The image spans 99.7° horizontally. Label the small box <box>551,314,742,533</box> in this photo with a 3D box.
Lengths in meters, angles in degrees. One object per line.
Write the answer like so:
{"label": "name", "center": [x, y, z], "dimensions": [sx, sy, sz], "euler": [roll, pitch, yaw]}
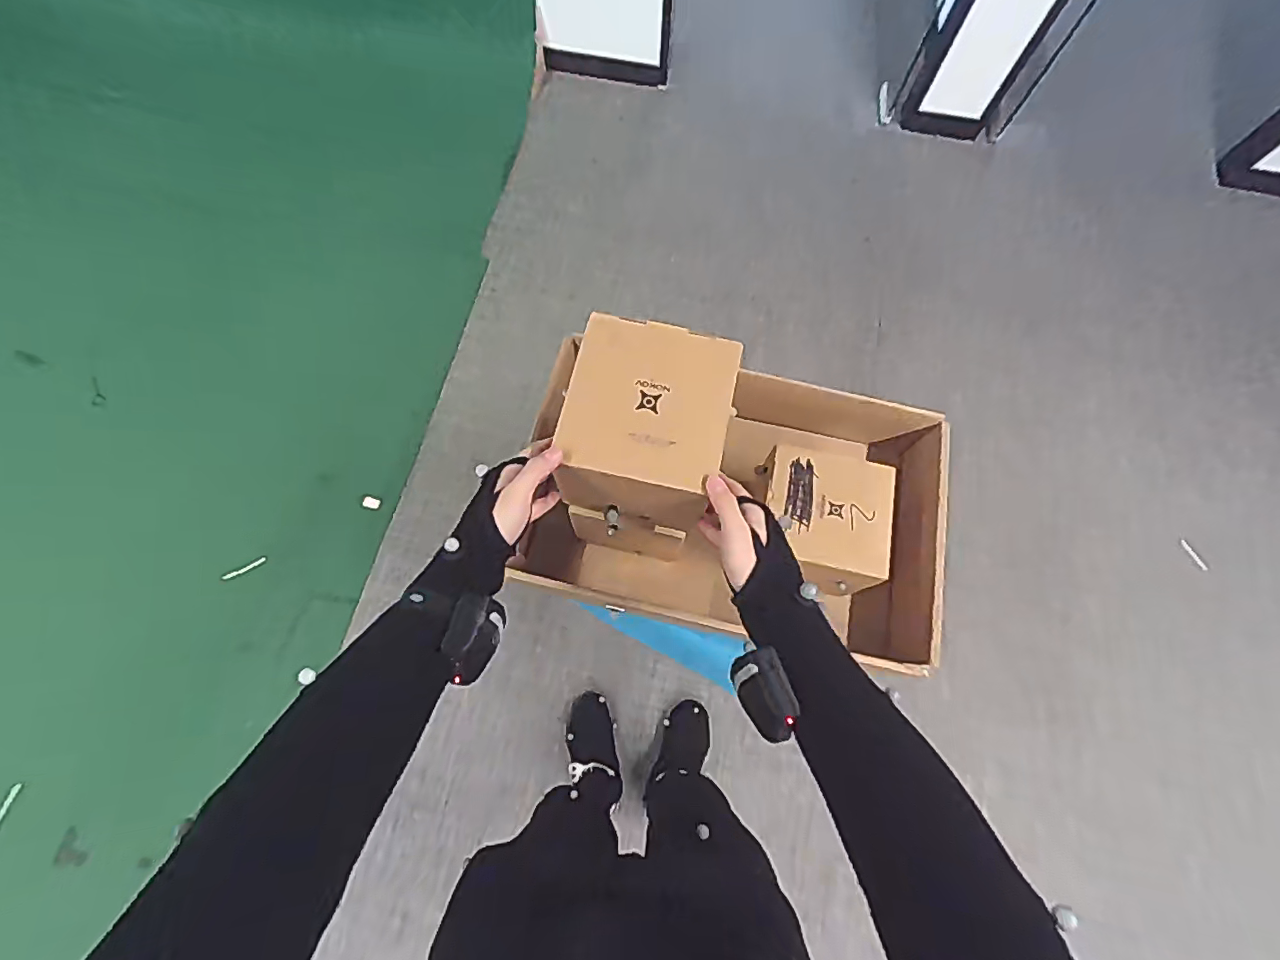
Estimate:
{"label": "small box", "center": [0.006, -0.054, 0.621], "dimensions": [0.168, 0.176, 0.179], "euler": [13, 72, 2]}

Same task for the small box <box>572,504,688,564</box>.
{"label": "small box", "center": [0.001, 0.014, 0.836], "dimensions": [0.168, 0.176, 0.179], "euler": [13, 70, 4]}
